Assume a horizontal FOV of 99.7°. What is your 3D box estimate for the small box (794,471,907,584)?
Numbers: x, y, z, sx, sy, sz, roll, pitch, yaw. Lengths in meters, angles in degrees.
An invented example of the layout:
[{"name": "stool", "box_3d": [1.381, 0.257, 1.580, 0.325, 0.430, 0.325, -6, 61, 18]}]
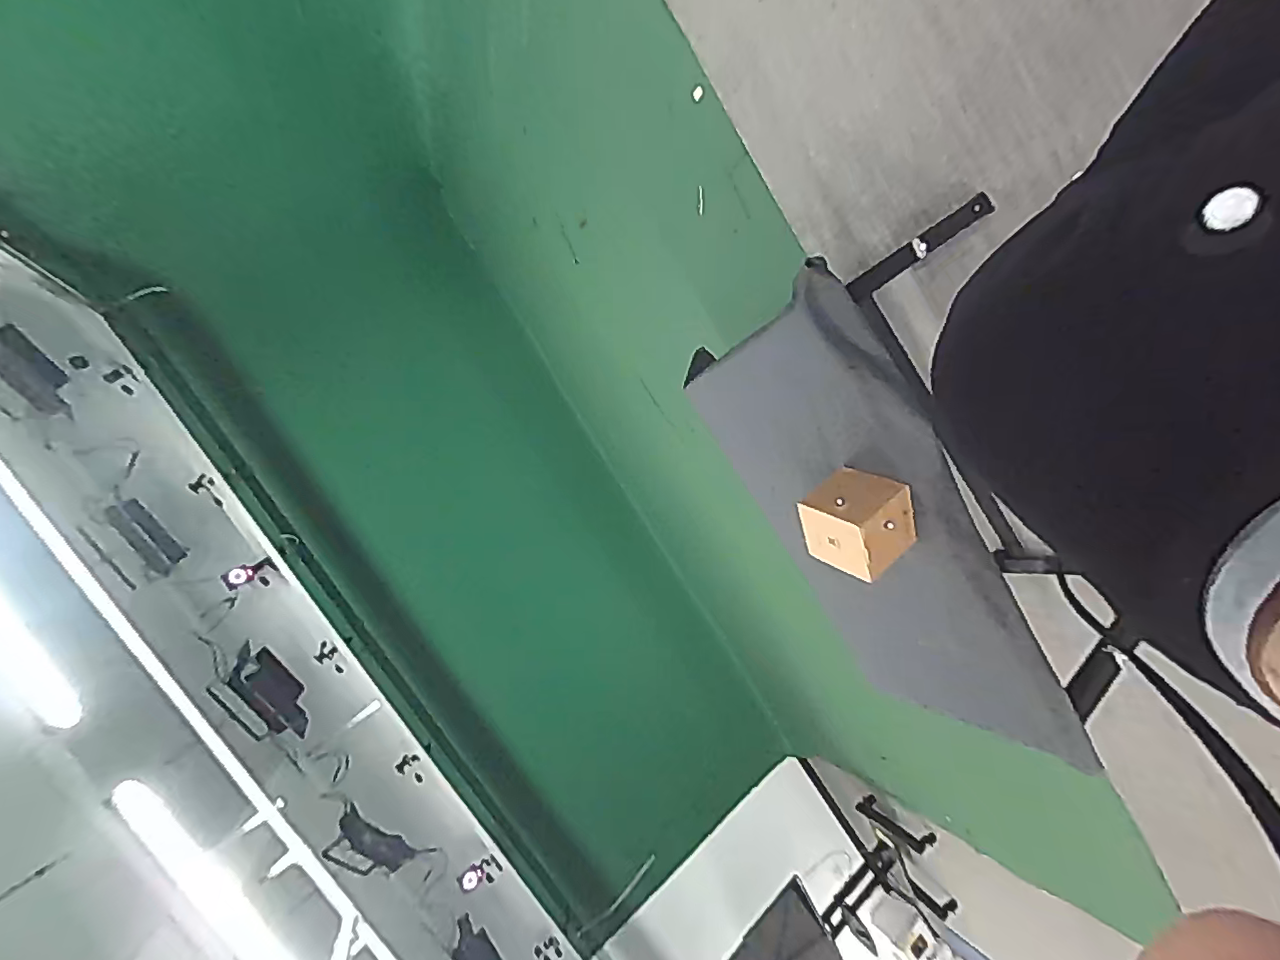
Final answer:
[{"name": "small box", "box_3d": [0.492, 0.100, 1.247, 0.179, 0.176, 0.168, 27, 145, 54]}]
